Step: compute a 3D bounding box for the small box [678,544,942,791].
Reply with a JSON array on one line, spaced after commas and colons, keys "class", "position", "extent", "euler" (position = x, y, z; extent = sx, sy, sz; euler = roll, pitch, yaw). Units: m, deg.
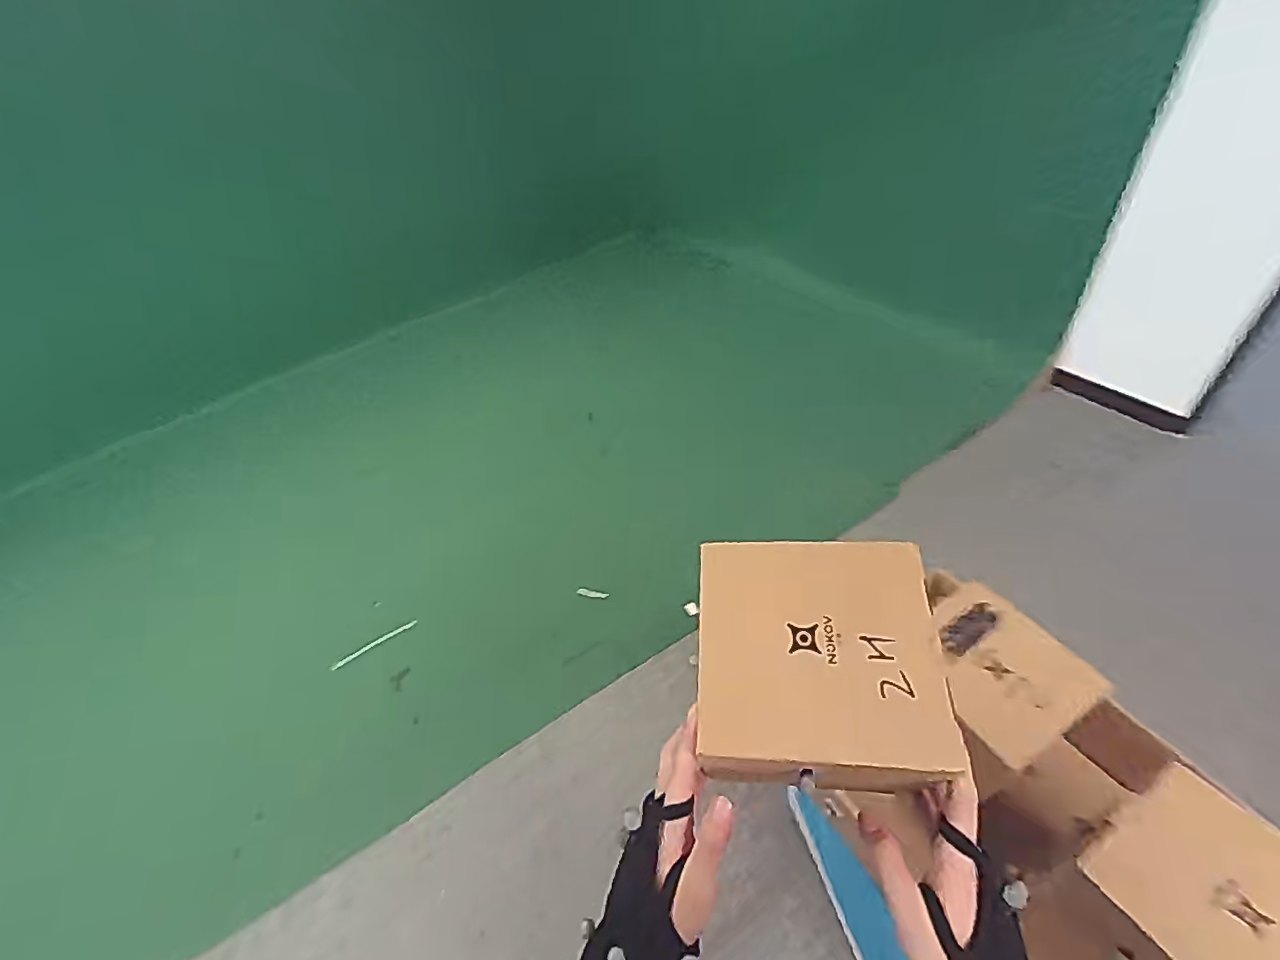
[{"class": "small box", "position": [0.132, 0.167, 0.473], "extent": [0.179, 0.176, 0.168], "euler": [-2, 56, 10]}]

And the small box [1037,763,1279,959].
[{"class": "small box", "position": [0.531, 0.421, 0.515], "extent": [0.168, 0.176, 0.179], "euler": [-29, 44, -13]}]
